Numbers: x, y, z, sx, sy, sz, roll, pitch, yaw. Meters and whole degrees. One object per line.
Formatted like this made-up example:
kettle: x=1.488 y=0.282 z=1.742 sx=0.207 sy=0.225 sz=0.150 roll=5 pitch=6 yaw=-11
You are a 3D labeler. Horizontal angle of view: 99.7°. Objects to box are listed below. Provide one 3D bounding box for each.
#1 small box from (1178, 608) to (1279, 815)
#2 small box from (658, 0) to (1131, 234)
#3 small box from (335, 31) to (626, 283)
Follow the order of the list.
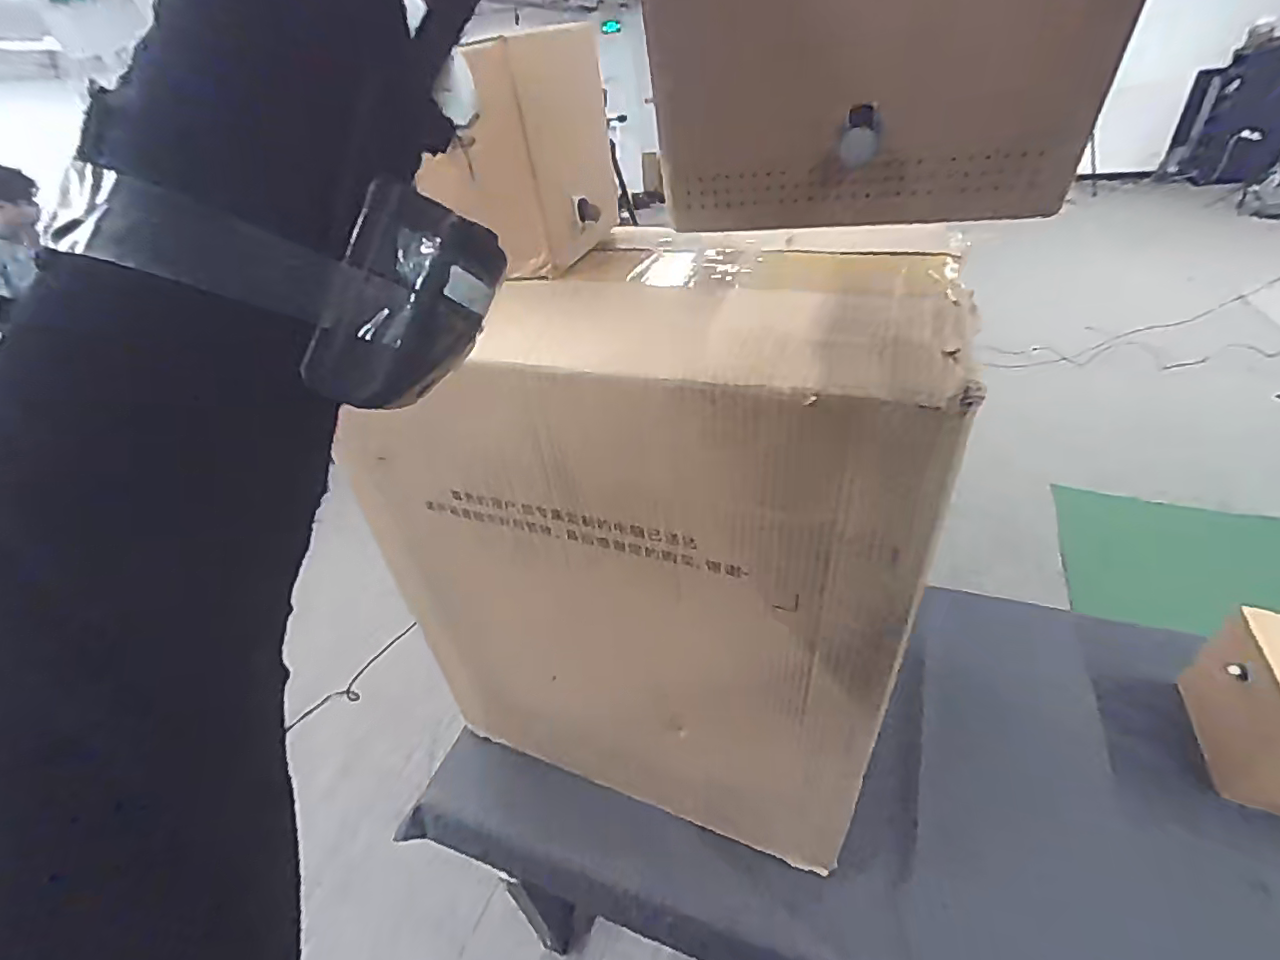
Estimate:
small box: x=0.814 y=0.293 z=0.657 sx=0.168 sy=0.176 sz=0.179 roll=11 pitch=40 yaw=23
small box: x=0.112 y=-0.235 z=0.256 sx=0.179 sy=0.176 sz=0.168 roll=6 pitch=51 yaw=17
small box: x=-0.125 y=-0.294 z=0.501 sx=0.179 sy=0.176 sz=0.168 roll=7 pitch=43 yaw=17
